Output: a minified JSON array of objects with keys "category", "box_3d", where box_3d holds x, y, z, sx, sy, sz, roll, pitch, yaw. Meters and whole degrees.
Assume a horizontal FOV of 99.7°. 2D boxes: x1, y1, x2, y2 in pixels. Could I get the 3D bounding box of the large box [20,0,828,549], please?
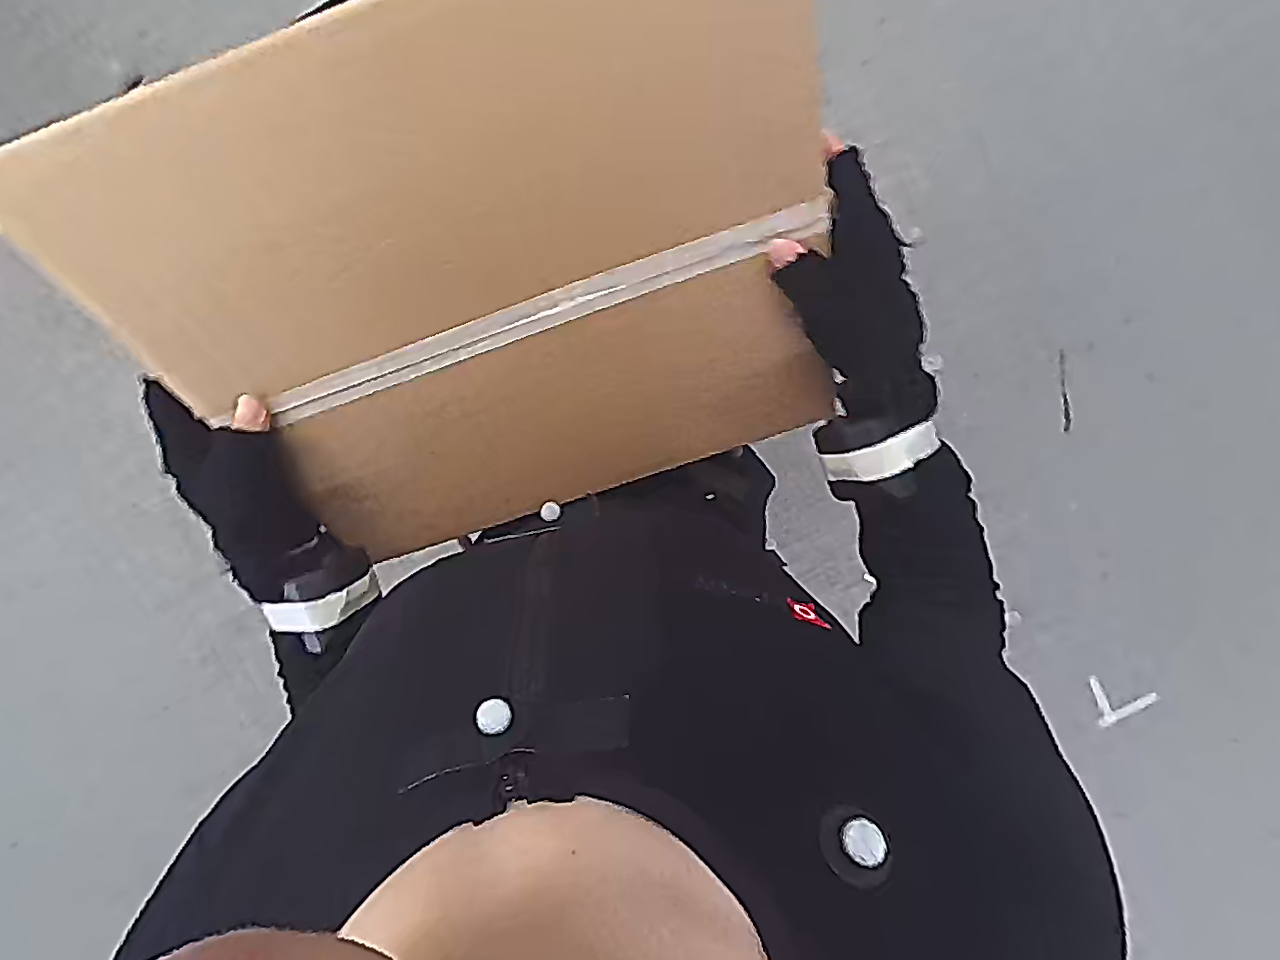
[{"category":"large box","box_3d":[-0.104,-0.202,0.458,0.408,0.320,0.320,-18,133,5]}]
